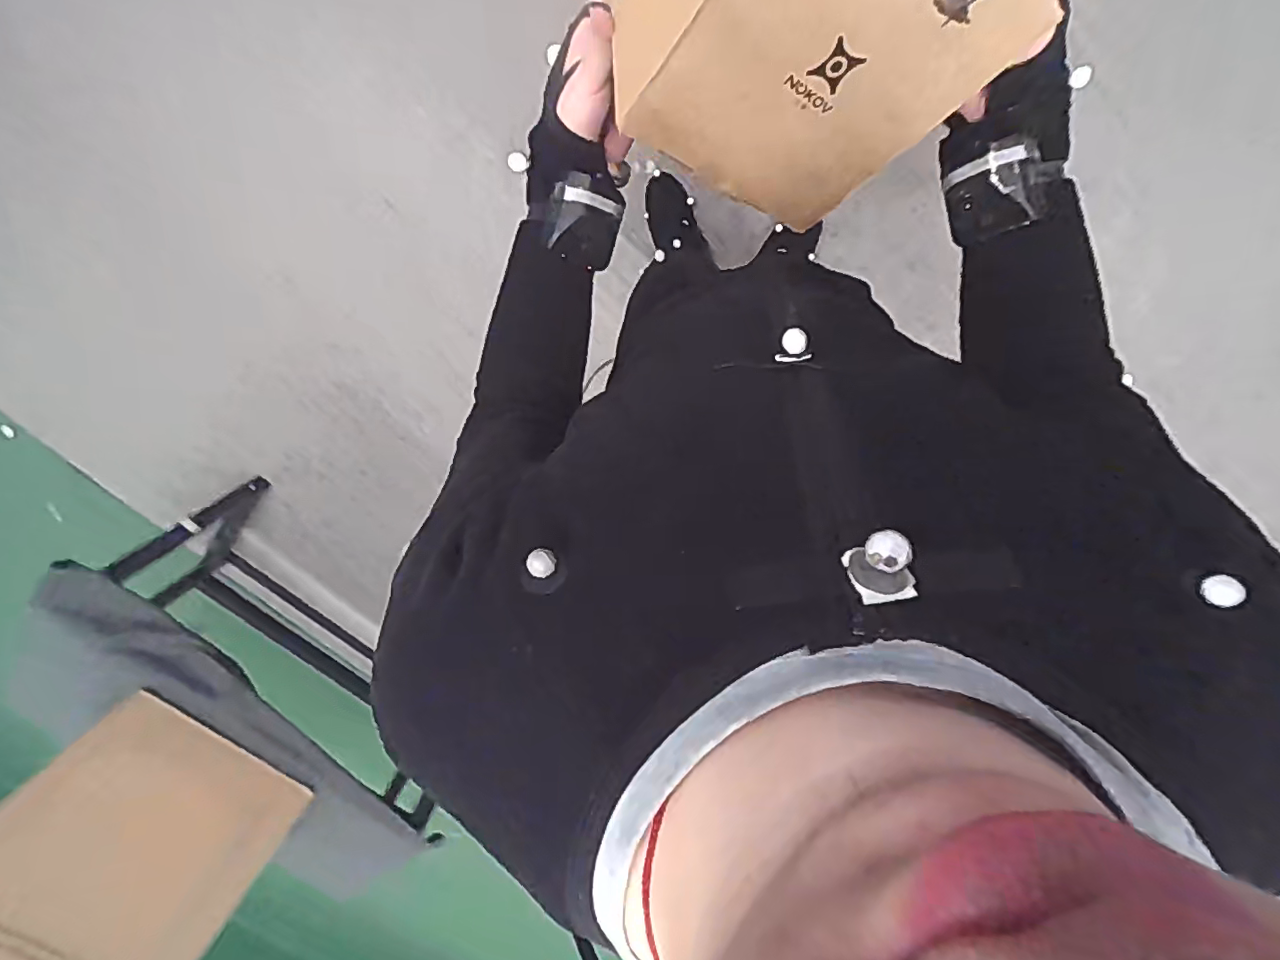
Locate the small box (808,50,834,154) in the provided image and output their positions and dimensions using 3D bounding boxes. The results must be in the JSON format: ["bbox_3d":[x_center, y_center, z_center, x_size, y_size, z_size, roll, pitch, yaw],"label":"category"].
[{"bbox_3d":[0.453,-0.791,1.136,0.179,0.176,0.168,1,118,10],"label":"small box"}]

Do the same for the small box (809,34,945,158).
[{"bbox_3d":[0.424,-0.700,1.001,0.179,0.176,0.168,8,119,8],"label":"small box"}]
